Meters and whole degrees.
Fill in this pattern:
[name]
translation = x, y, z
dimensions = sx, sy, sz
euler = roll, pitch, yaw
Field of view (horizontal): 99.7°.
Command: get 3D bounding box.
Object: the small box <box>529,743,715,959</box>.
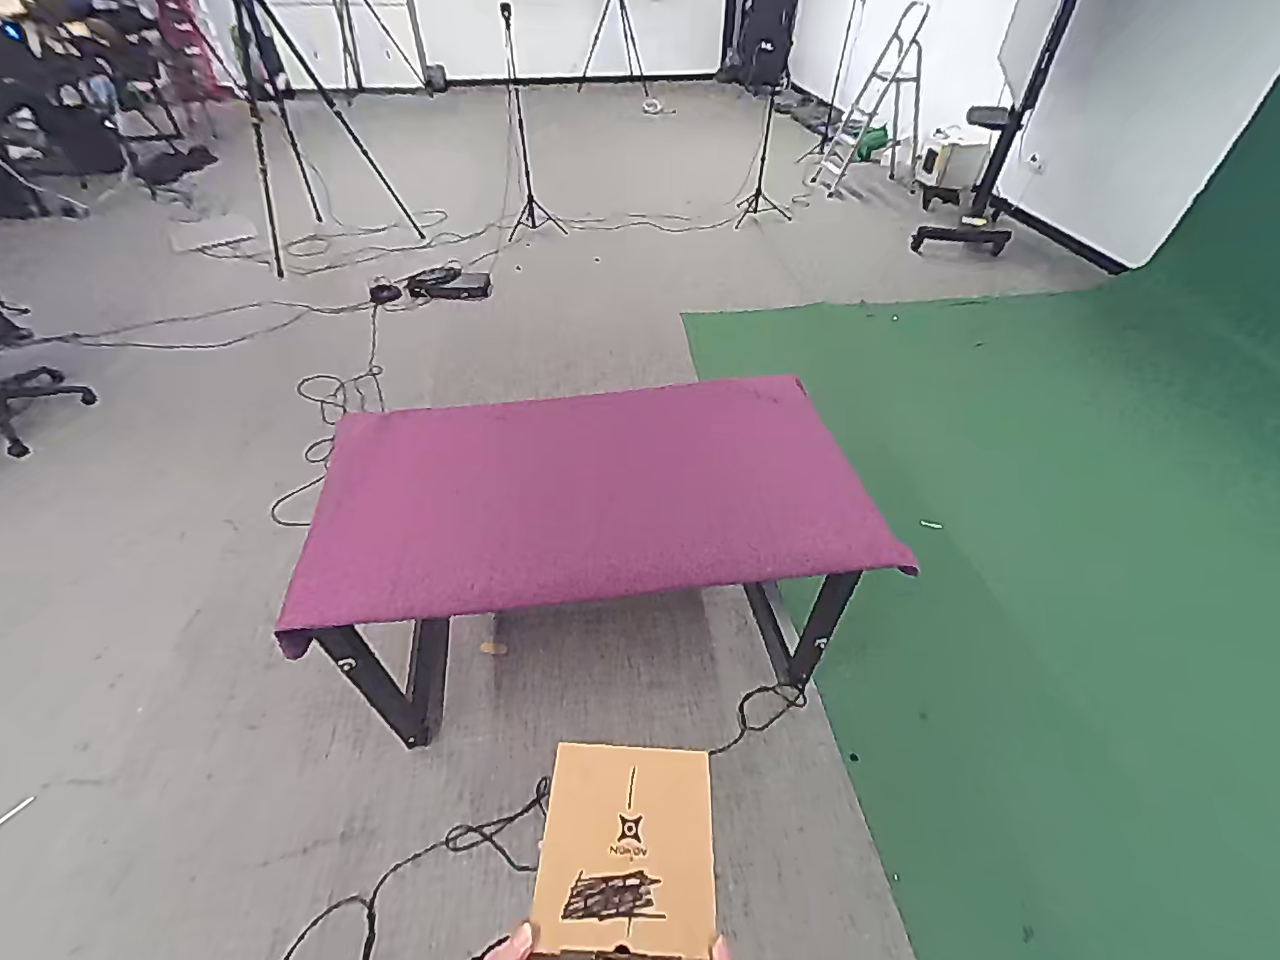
[small box]
translation = -0.013, 0.408, 0.577
dimensions = 0.168, 0.176, 0.179
euler = 4, 42, 0
